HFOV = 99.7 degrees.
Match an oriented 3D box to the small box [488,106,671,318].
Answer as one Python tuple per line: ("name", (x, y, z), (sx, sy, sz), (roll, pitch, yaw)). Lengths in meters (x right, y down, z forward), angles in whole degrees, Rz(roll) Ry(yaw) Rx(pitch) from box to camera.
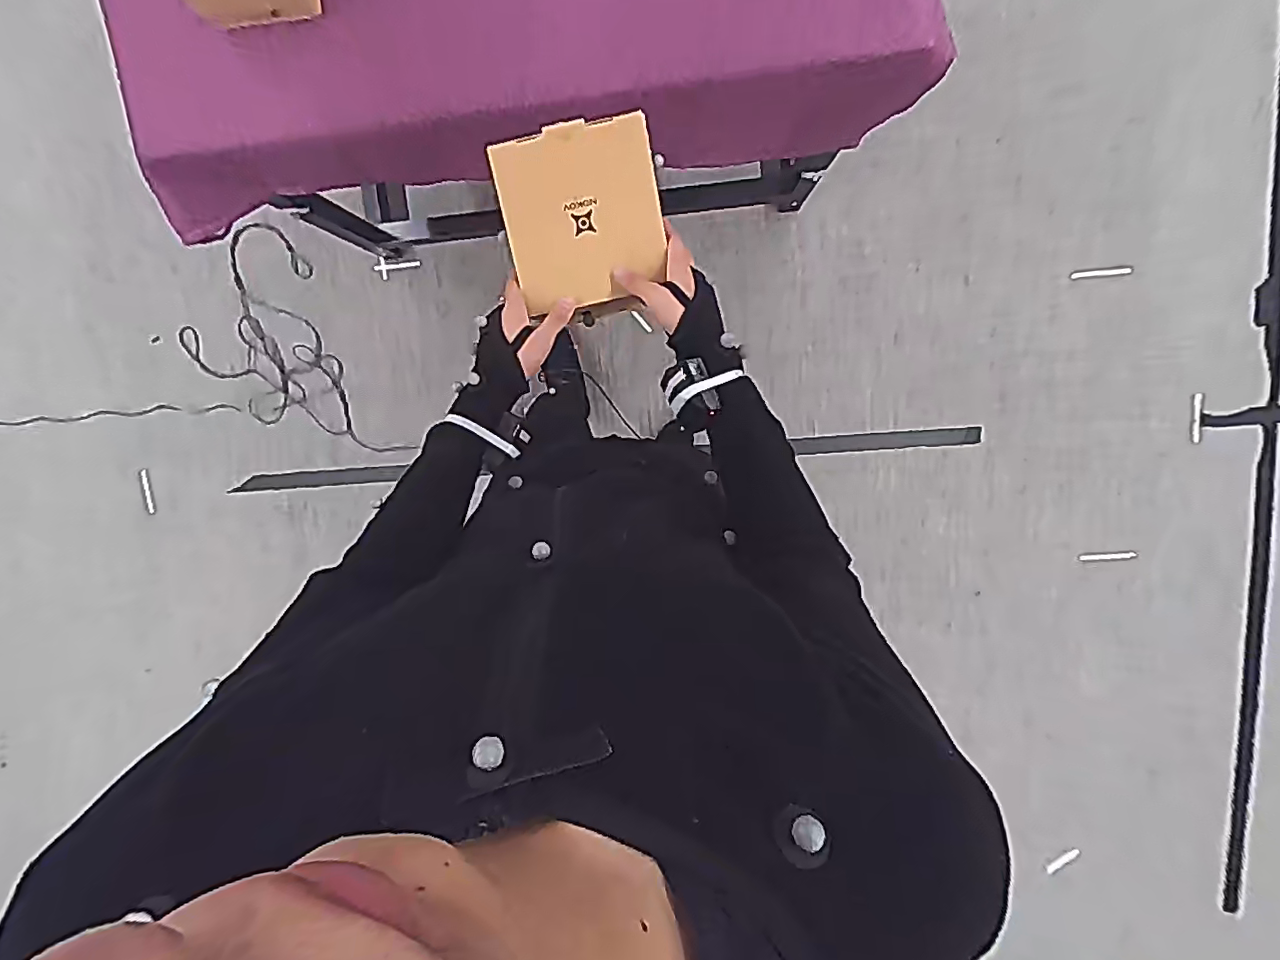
("small box", (-0.060, -0.298, 0.645), (0.168, 0.176, 0.179), (-12, 100, 2))
